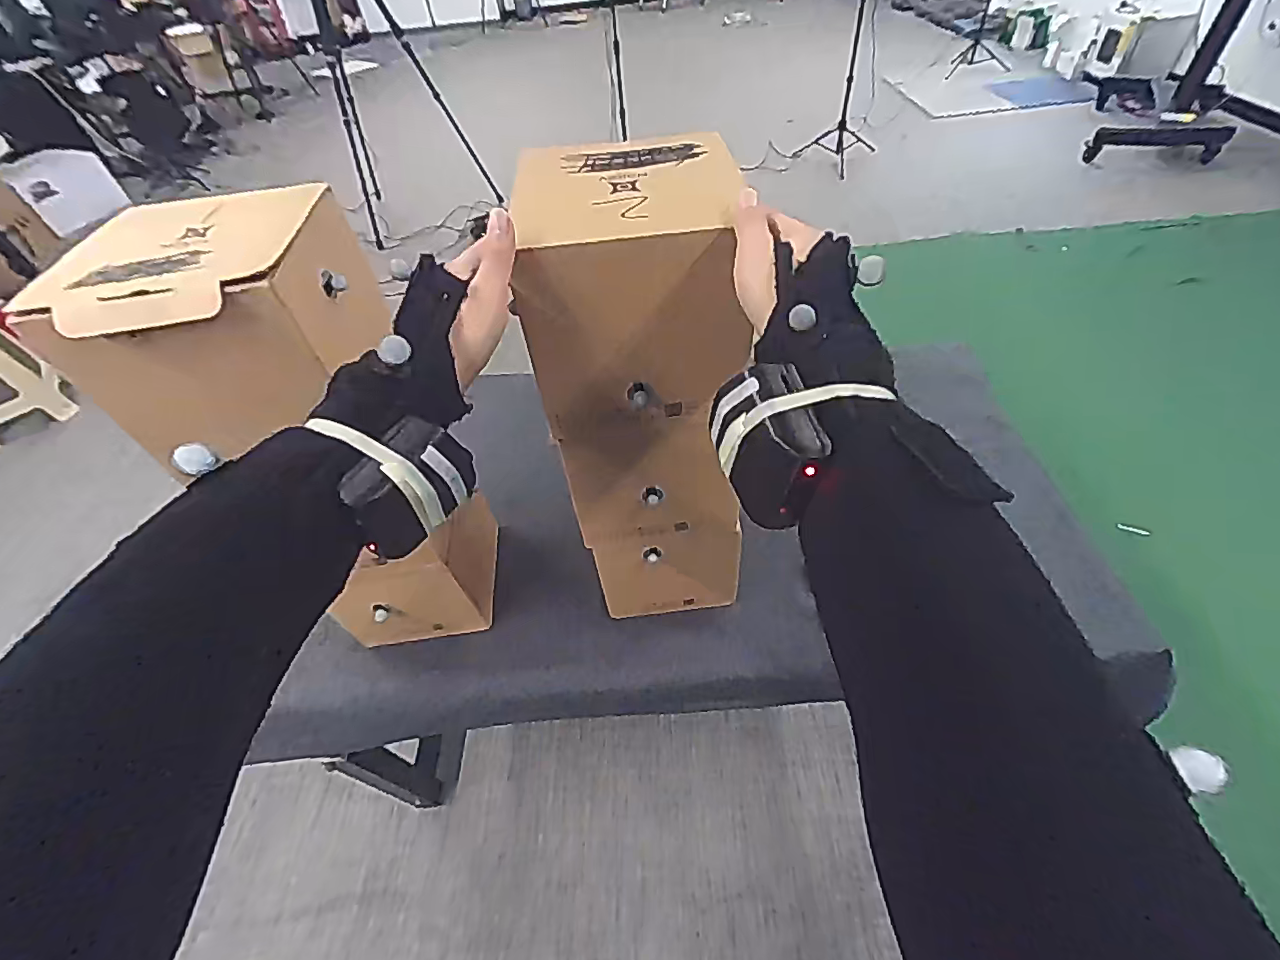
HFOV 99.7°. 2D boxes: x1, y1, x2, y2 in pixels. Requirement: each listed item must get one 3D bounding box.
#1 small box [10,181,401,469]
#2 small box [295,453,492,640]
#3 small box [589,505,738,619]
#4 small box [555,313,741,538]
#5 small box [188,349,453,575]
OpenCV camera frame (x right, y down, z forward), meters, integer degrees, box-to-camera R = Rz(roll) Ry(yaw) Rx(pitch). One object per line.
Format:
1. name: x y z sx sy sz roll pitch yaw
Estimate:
1. small box: -0.321 -0.123 0.455 0.168 0.176 0.179 -9 47 -4
2. small box: -0.298 0.092 0.700 0.168 0.176 0.179 -8 48 -2
3. small box: 0.025 0.057 0.701 0.168 0.176 0.179 -7 48 0
4. small box: 0.007 -0.051 0.576 0.168 0.176 0.179 -6 49 -1
5. small box: -0.311 -0.013 0.577 0.168 0.176 0.179 -8 47 -3
